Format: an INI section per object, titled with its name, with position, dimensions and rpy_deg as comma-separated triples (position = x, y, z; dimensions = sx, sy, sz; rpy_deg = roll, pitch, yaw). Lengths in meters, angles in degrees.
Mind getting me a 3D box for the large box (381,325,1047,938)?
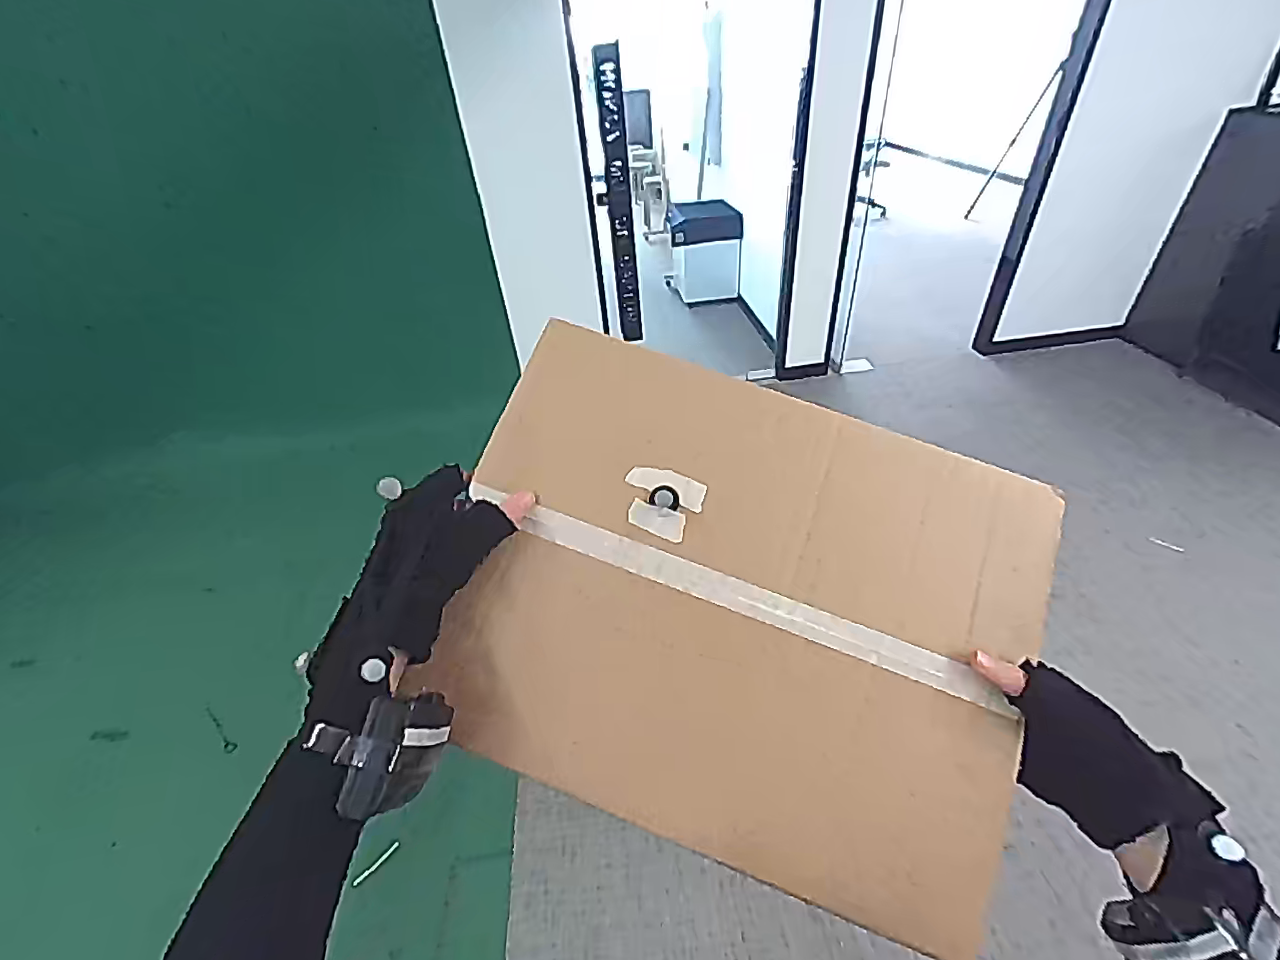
[large box]
position = 0.064, 0.111, 0.526
dimensions = 0.408, 0.320, 0.320
rpy_deg = 21, 77, 8
